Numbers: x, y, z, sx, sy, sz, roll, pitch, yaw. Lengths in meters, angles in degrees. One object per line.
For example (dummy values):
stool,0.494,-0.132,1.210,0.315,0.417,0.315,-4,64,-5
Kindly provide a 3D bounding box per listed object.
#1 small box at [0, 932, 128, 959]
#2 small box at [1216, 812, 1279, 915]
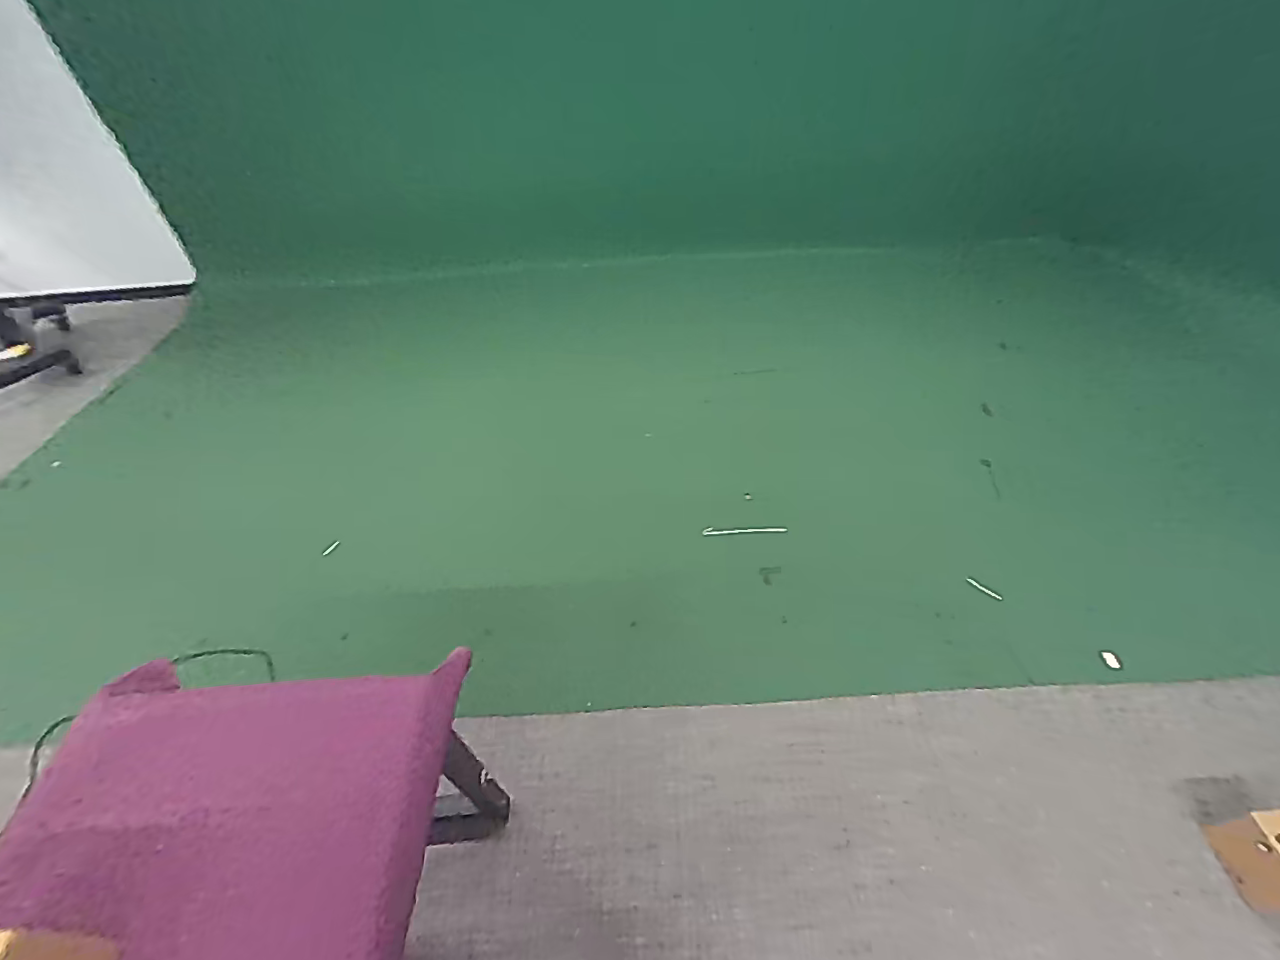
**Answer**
small box,-0.767,0.630,0.613,0.179,0.176,0.168,-4,46,1
small box,1.471,0.849,1.198,0.179,0.176,0.168,-3,45,1
